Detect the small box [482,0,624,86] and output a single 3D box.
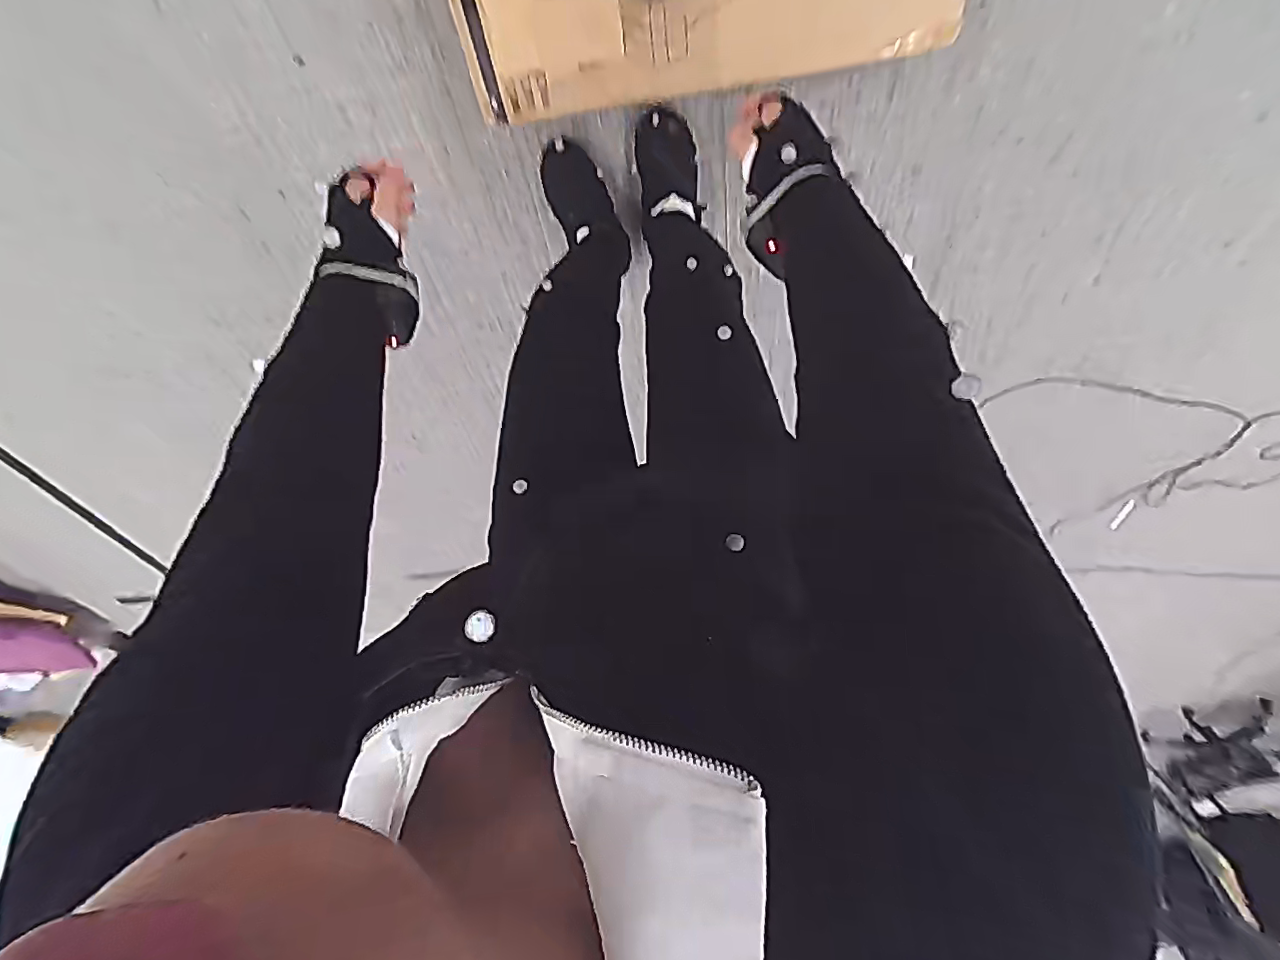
[{"bbox_3d":[-0.110,-0.641,0.697,0.168,0.176,0.179,-6,136,3],"label":"small box"}]
